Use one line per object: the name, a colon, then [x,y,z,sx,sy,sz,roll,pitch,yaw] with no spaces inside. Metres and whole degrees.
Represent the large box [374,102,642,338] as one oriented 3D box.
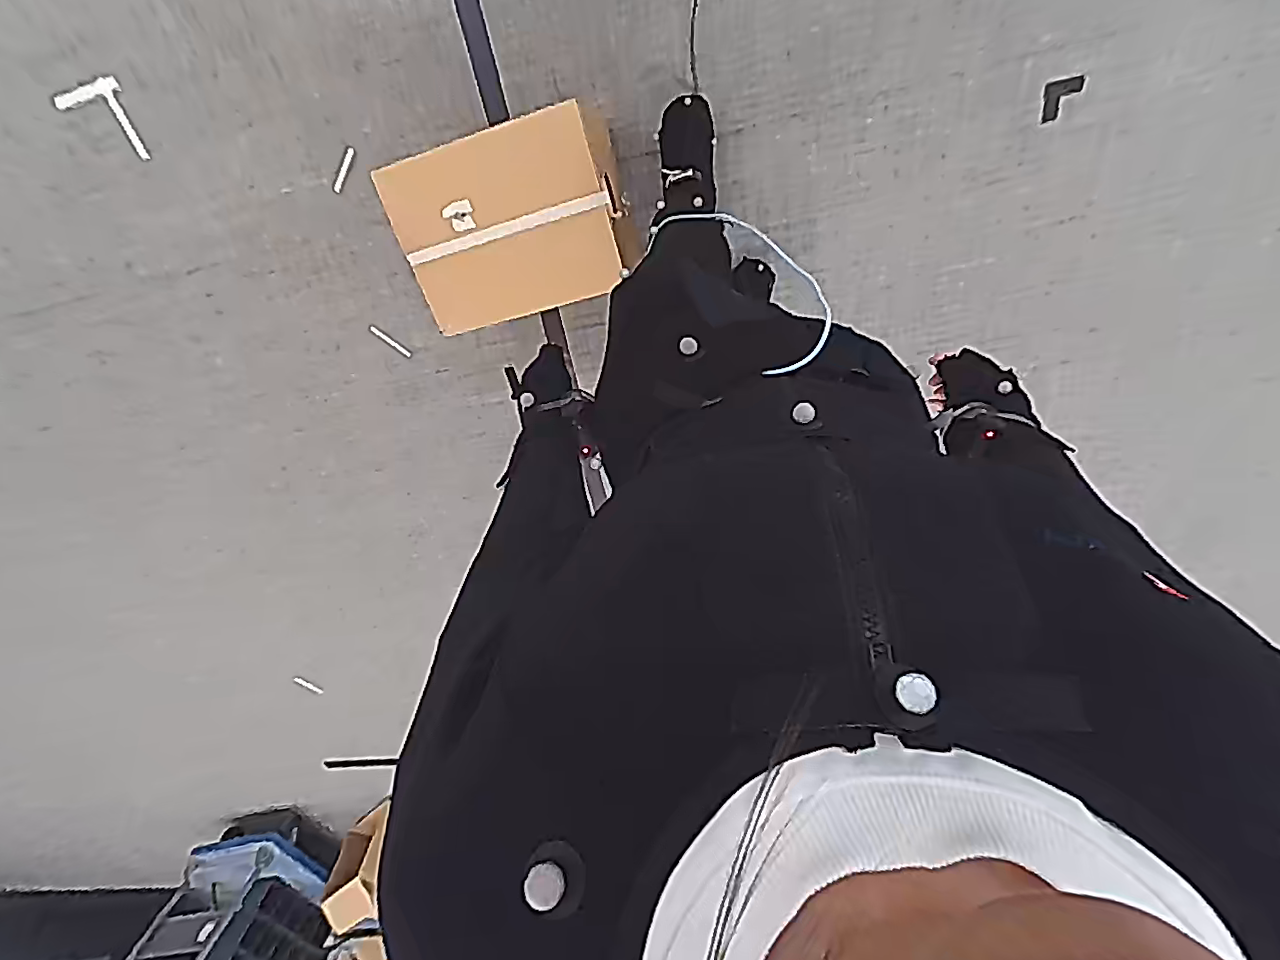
large box: [-0.240,-0.534,1.134,0.408,0.320,0.320,-11,117,13]
